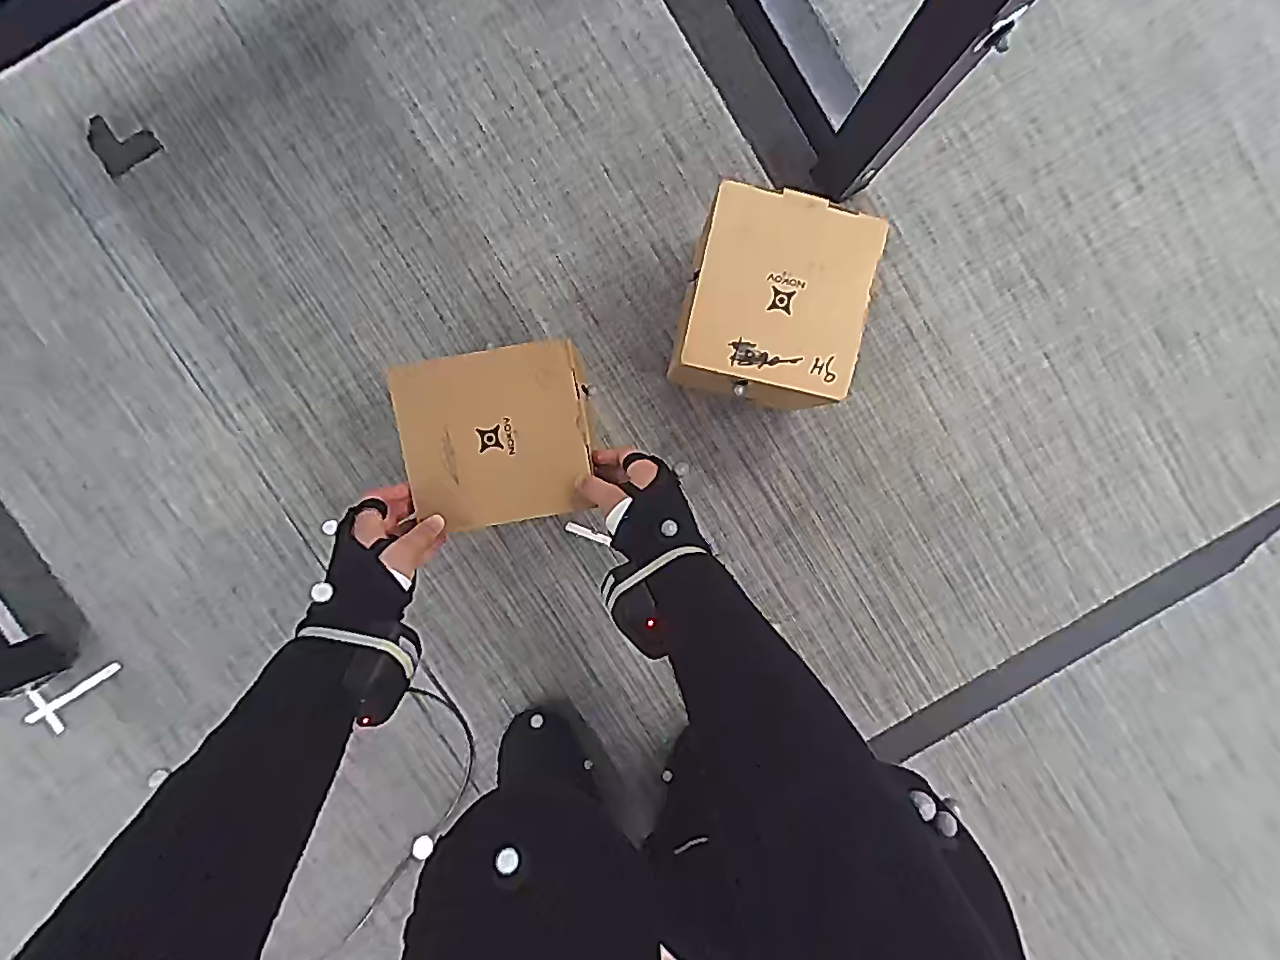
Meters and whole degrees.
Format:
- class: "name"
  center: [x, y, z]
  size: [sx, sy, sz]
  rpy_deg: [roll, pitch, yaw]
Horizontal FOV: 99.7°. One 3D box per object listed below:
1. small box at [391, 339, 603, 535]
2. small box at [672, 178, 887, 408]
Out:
- class: "small box"
  center: [-0.138, -0.047, 0.592]
  size: [0.179, 0.176, 0.168]
  rpy_deg: [-10, 93, 0]
- class: "small box"
  center: [0.134, -0.184, 0.587]
  size: [0.168, 0.176, 0.179]
  rpy_deg: [12, 93, -2]
